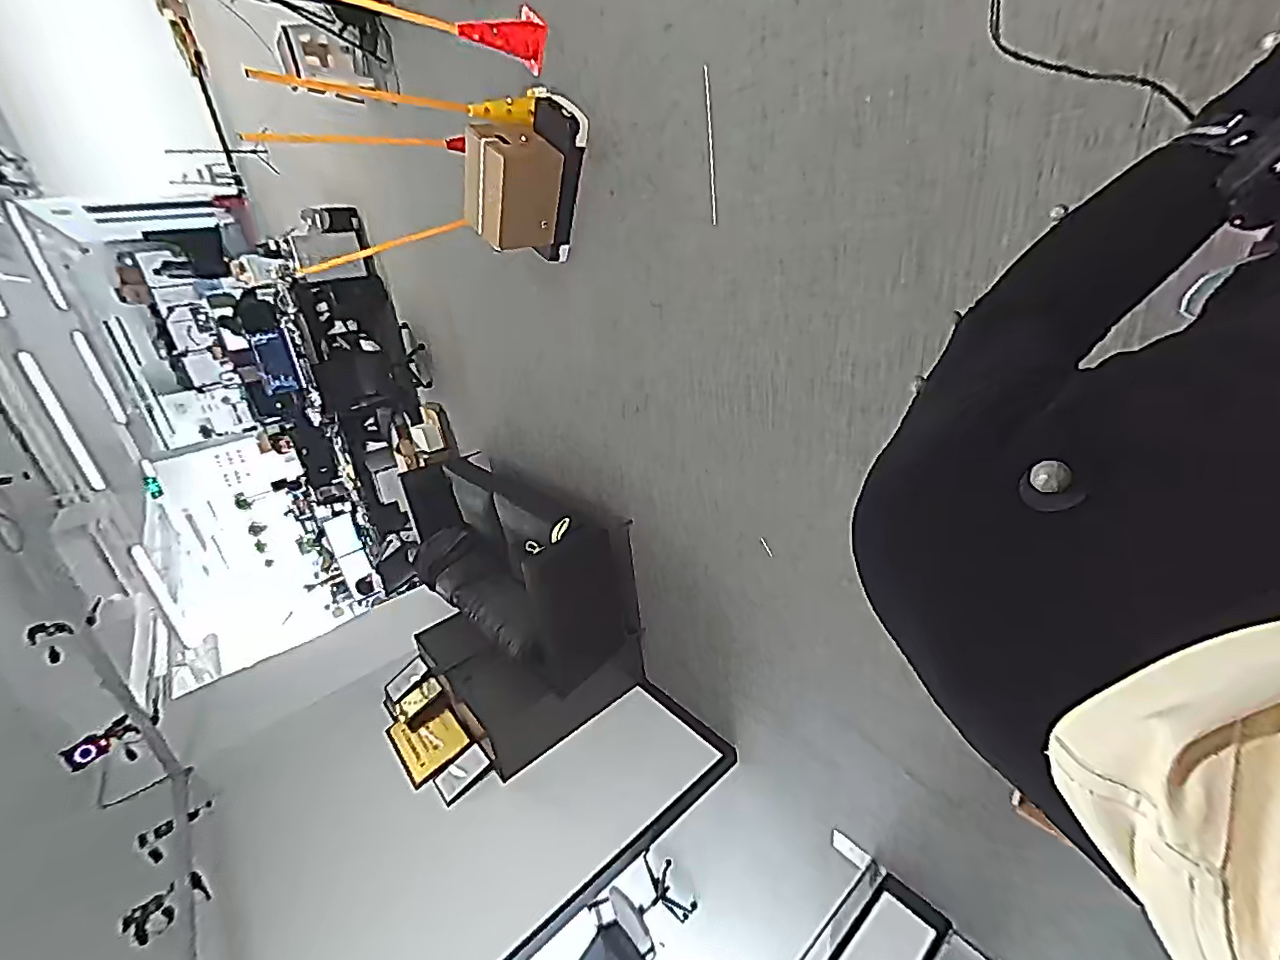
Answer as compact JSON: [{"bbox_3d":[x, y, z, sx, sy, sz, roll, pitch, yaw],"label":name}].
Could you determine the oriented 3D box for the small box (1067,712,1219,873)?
[{"bbox_3d":[0.987,0.604,1.063,0.168,0.176,0.179,25,129,46],"label":"small box"}]
